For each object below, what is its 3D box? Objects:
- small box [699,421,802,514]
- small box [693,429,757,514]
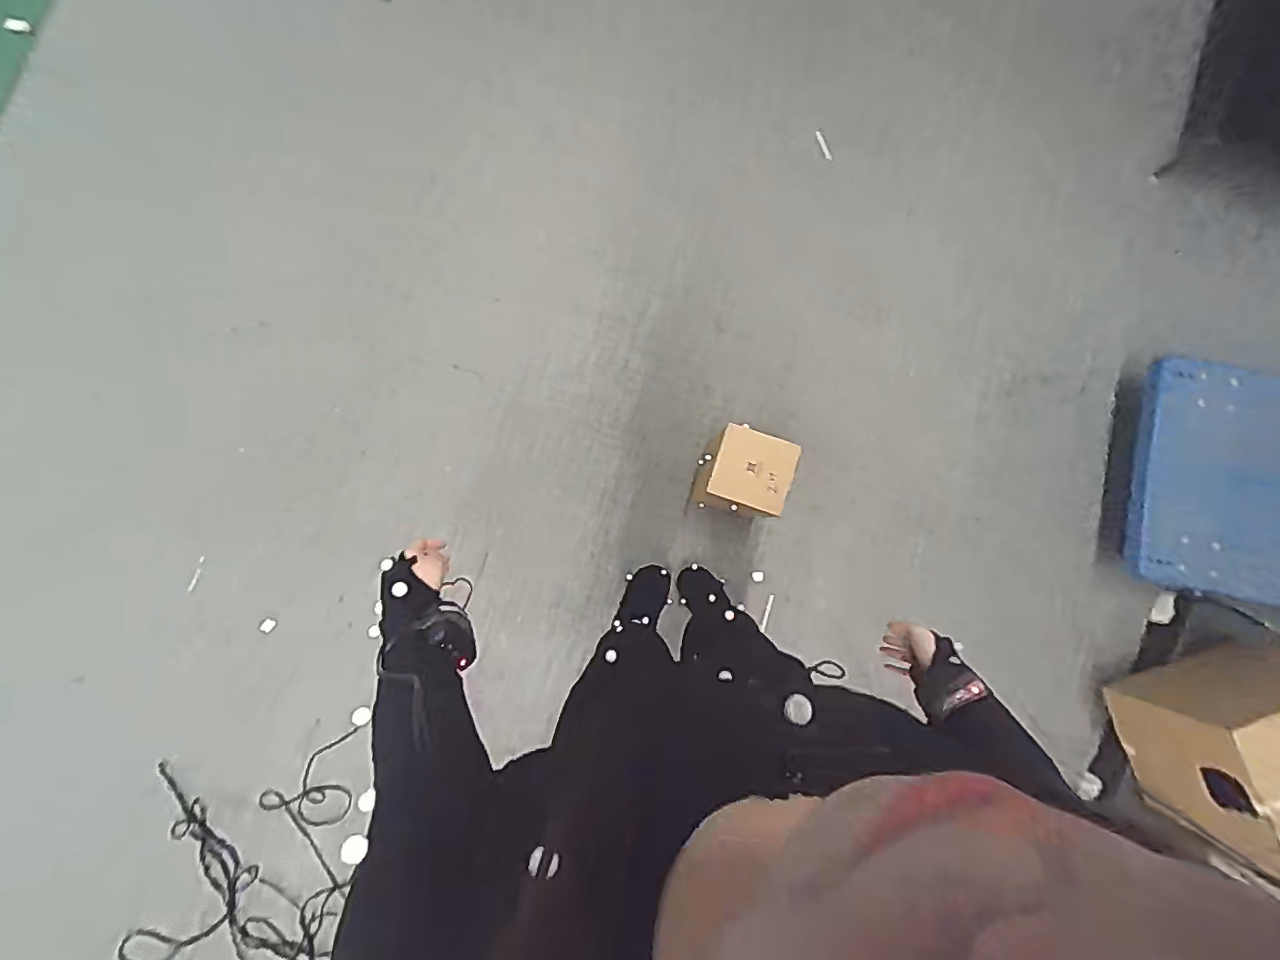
[{"bbox_3d":[0.248,-0.022,1.263,0.179,0.176,0.168,19,86,0],"label":"small box"},{"bbox_3d":[0.245,-0.016,1.427,0.168,0.176,0.179,19,85,0],"label":"small box"}]
